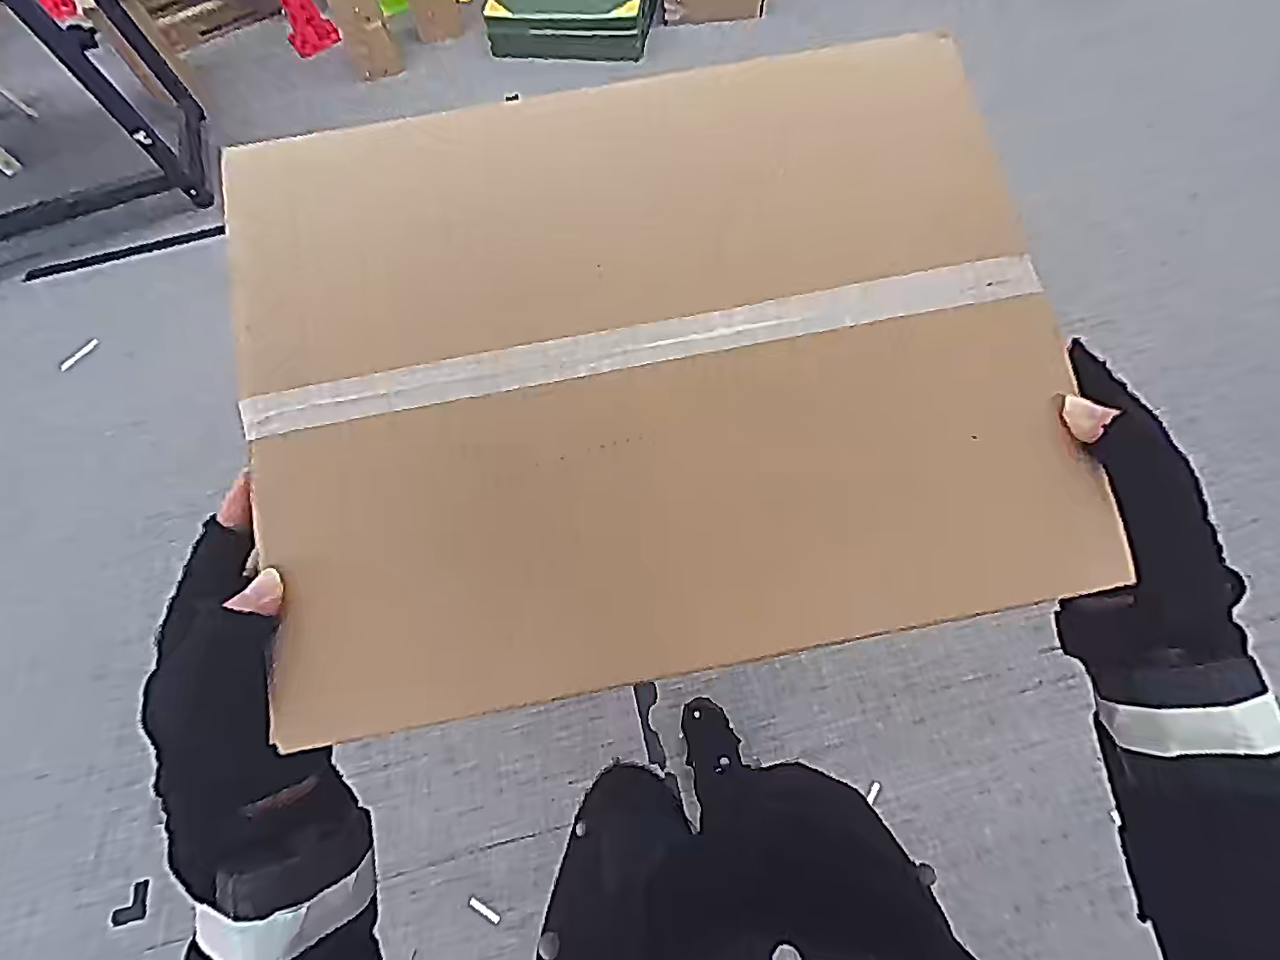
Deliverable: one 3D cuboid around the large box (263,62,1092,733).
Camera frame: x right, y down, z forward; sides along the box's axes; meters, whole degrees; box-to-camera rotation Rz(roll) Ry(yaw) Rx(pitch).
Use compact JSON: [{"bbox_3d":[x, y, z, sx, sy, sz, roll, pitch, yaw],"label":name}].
[{"bbox_3d":[0.005,-0.038,0.438,0.408,0.320,0.320,-11,81,-2],"label":"large box"}]
